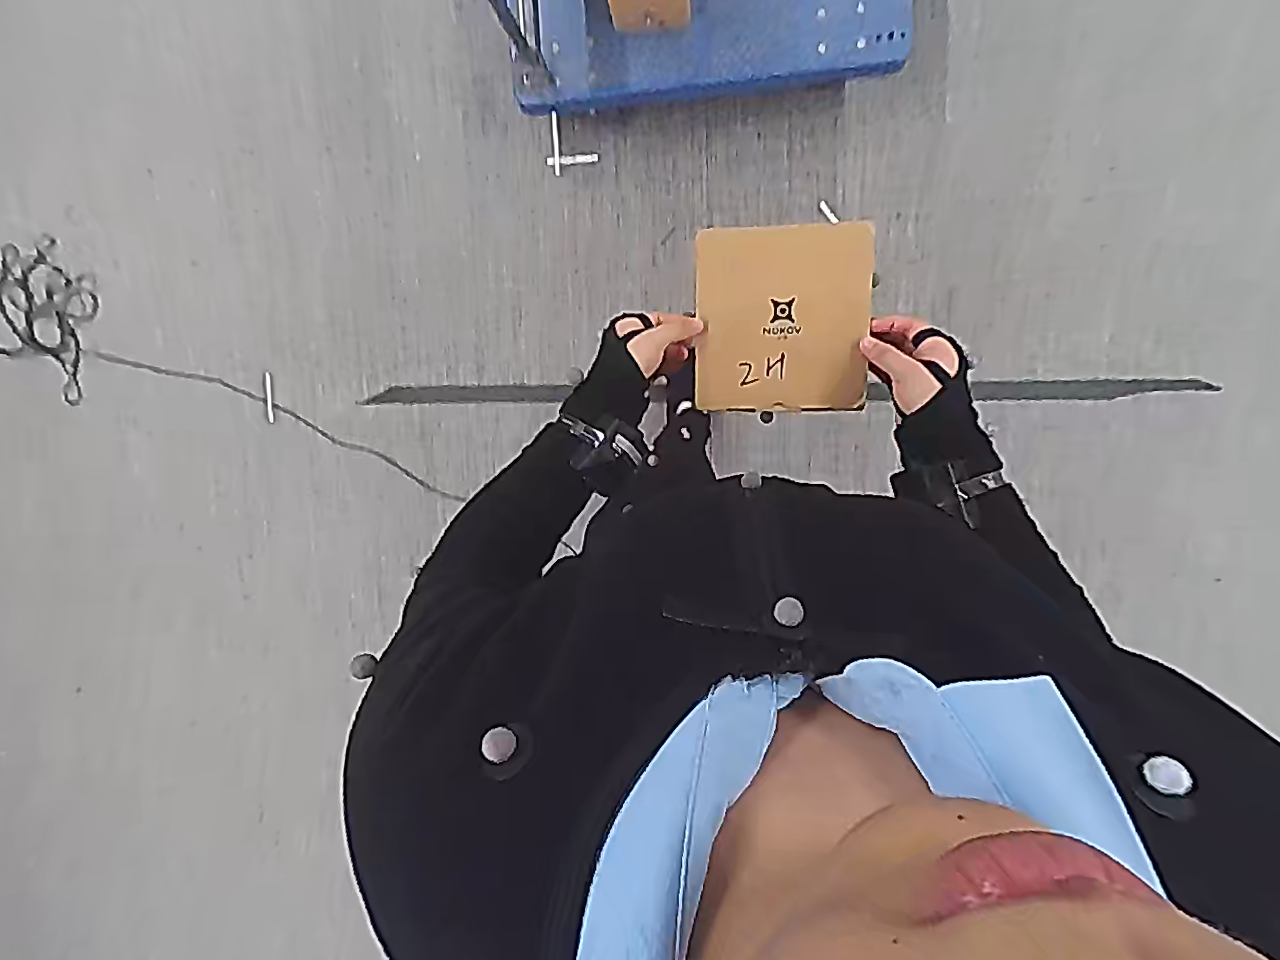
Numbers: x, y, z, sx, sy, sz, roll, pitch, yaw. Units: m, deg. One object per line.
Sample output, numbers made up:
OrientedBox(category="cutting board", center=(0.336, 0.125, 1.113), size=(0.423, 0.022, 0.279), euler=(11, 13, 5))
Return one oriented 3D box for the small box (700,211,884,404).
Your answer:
OrientedBox(category="small box", center=(0.151, -0.173, 0.590), size=(0.168, 0.176, 0.179), euler=(1, 100, 8))
